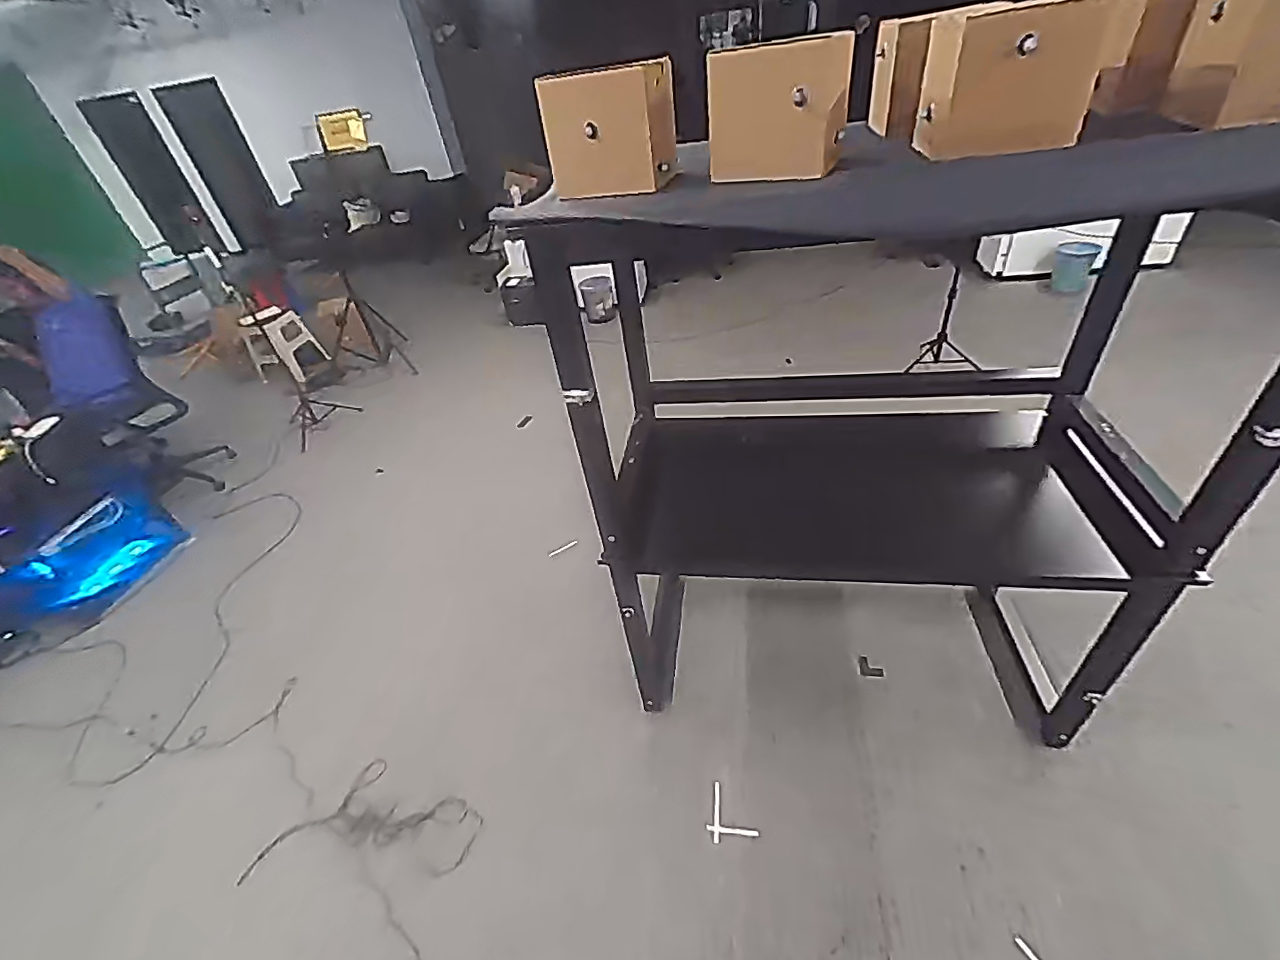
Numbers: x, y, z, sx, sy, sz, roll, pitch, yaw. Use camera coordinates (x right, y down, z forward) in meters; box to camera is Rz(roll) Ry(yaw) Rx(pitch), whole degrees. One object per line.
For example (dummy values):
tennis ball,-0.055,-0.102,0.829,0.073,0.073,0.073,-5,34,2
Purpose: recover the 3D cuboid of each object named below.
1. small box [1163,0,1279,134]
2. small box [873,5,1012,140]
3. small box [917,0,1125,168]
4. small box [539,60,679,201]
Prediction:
small box,0.835,-0.558,0.694,0.168,0.176,0.179,4,40,18
small box,0.524,-0.723,0.966,0.168,0.176,0.179,-1,40,12
small box,0.520,-0.563,0.771,0.179,0.176,0.168,-1,39,12
small box,-0.038,-0.576,0.897,0.179,0.176,0.168,4,39,17
